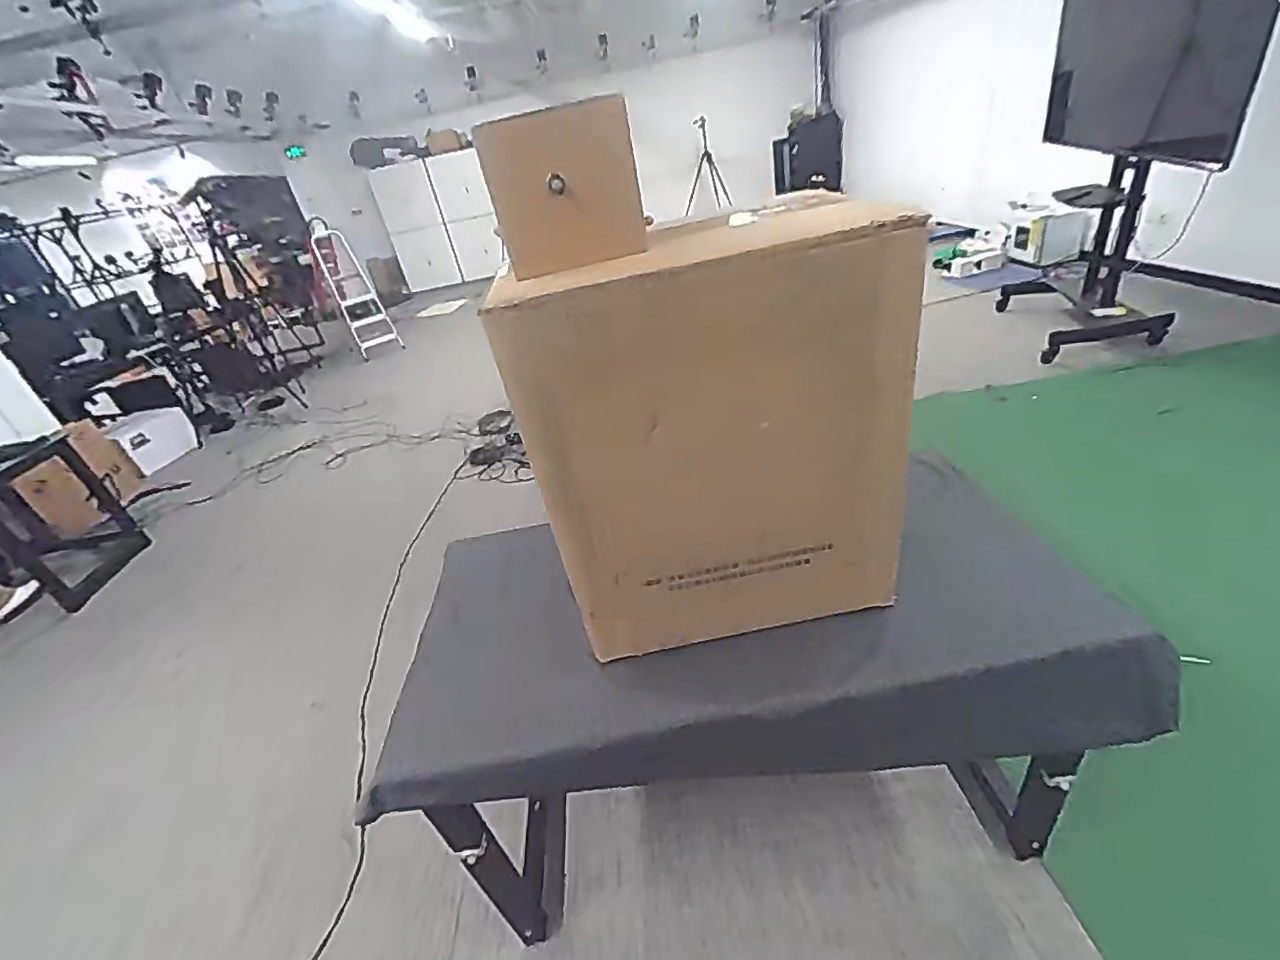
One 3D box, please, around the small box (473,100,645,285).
[{"bbox_3d":[-0.095,-0.373,0.704,0.179,0.176,0.168,-15,33,0],"label":"small box"}]
